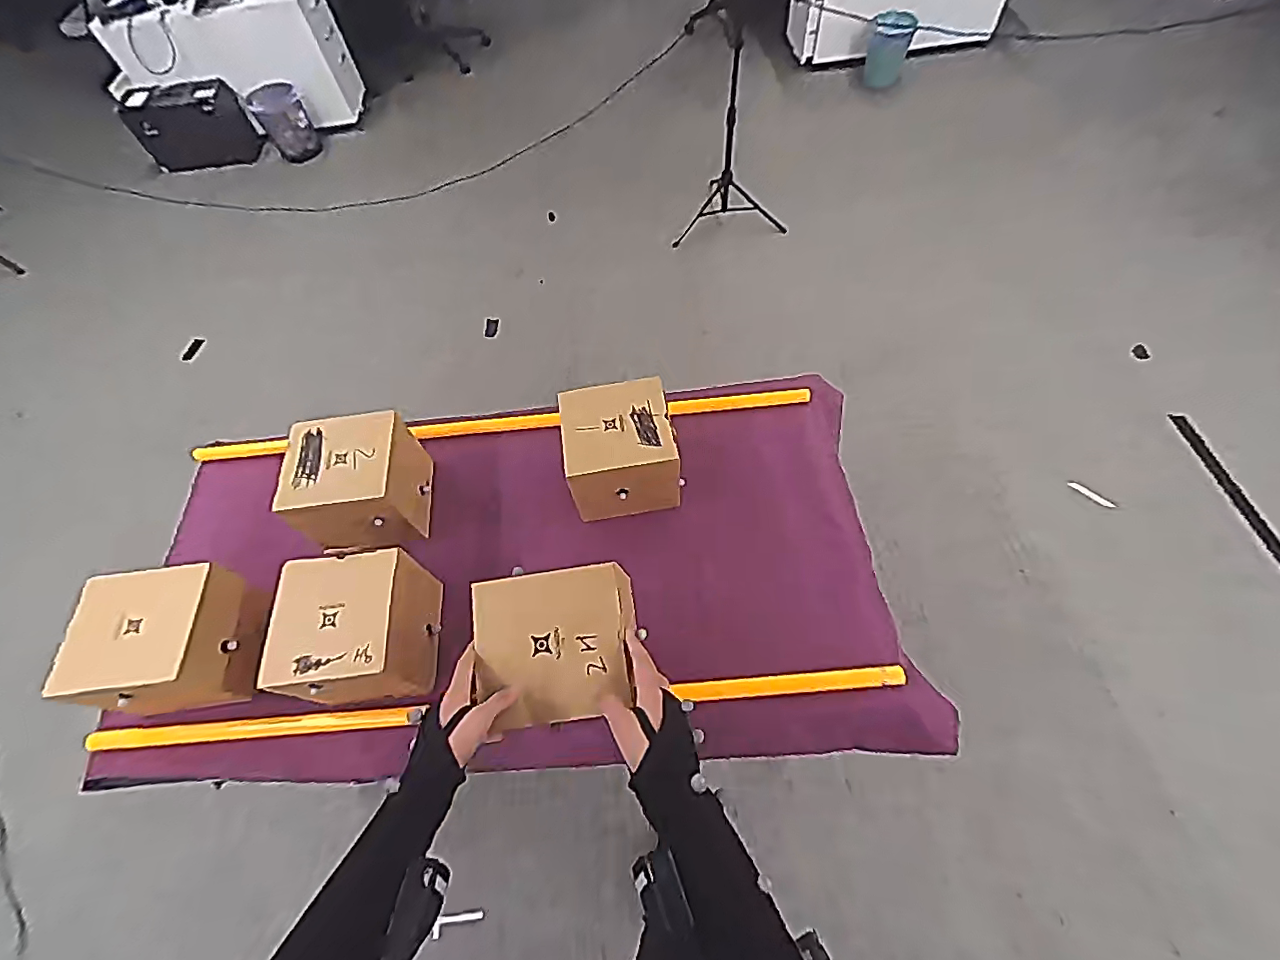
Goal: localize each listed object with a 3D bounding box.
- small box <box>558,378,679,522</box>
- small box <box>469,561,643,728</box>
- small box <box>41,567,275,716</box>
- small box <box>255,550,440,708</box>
[{"bbox_3d":[-0.033,-0.045,0.914,0.179,0.176,0.168,-10,61,0],"label":"small box"},{"bbox_3d":[-0.098,0.206,0.681,0.179,0.176,0.168,-9,72,2],"label":"small box"},{"bbox_3d":[-0.687,0.244,0.801,0.179,0.176,0.168,-8,59,-1],"label":"small box"},{"bbox_3d":[-0.407,0.222,0.791,0.168,0.176,0.179,-7,59,1],"label":"small box"}]
